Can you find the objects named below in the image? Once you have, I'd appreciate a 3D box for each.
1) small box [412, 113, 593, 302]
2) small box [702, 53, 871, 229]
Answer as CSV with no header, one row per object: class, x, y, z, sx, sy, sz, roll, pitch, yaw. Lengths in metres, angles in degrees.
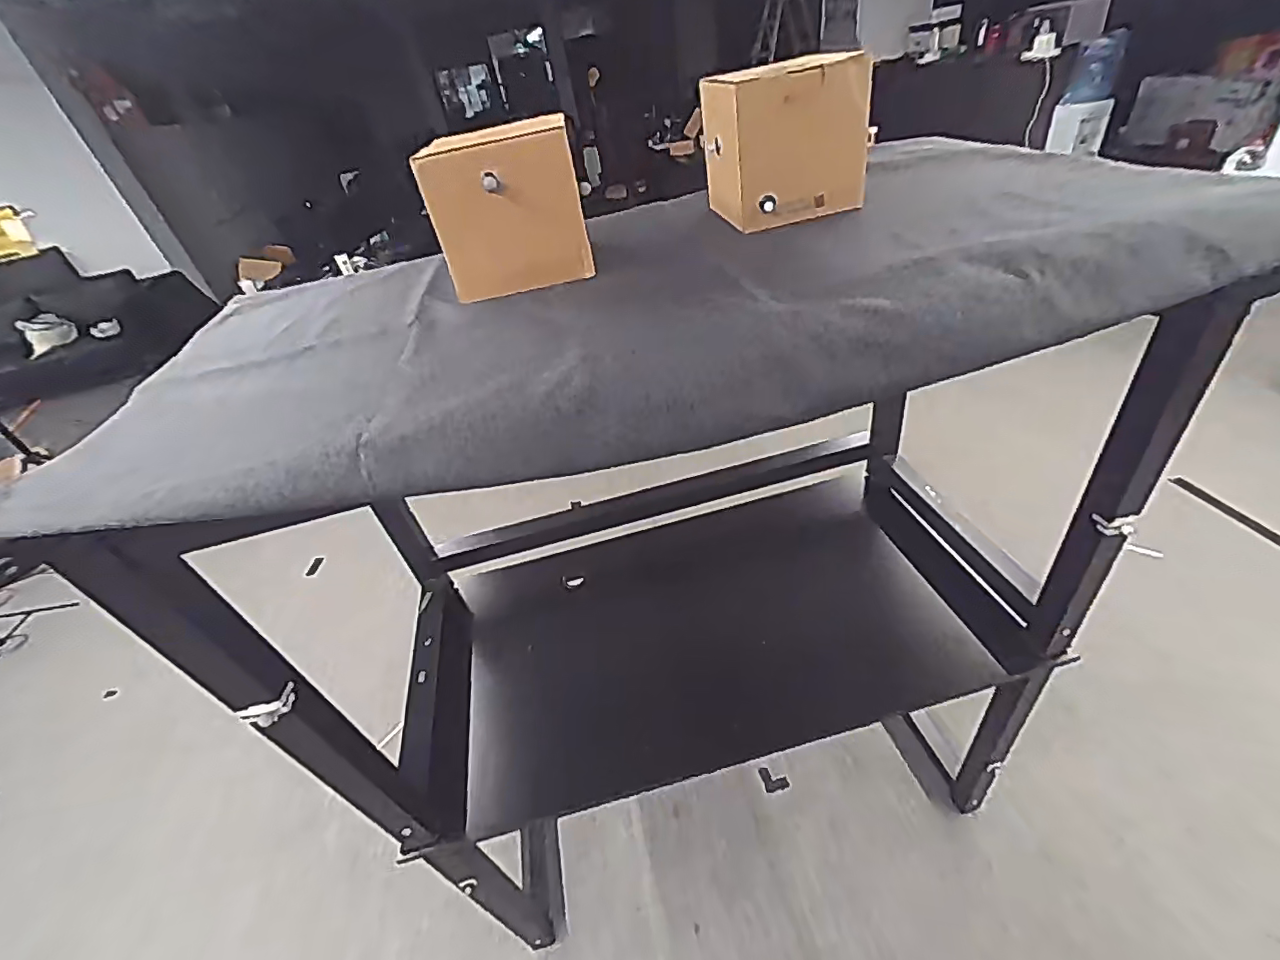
small box,-0.159,-0.350,0.697,0.179,0.176,0.168,-12,38,1
small box,0.190,-0.455,0.732,0.168,0.176,0.179,-13,38,-1
